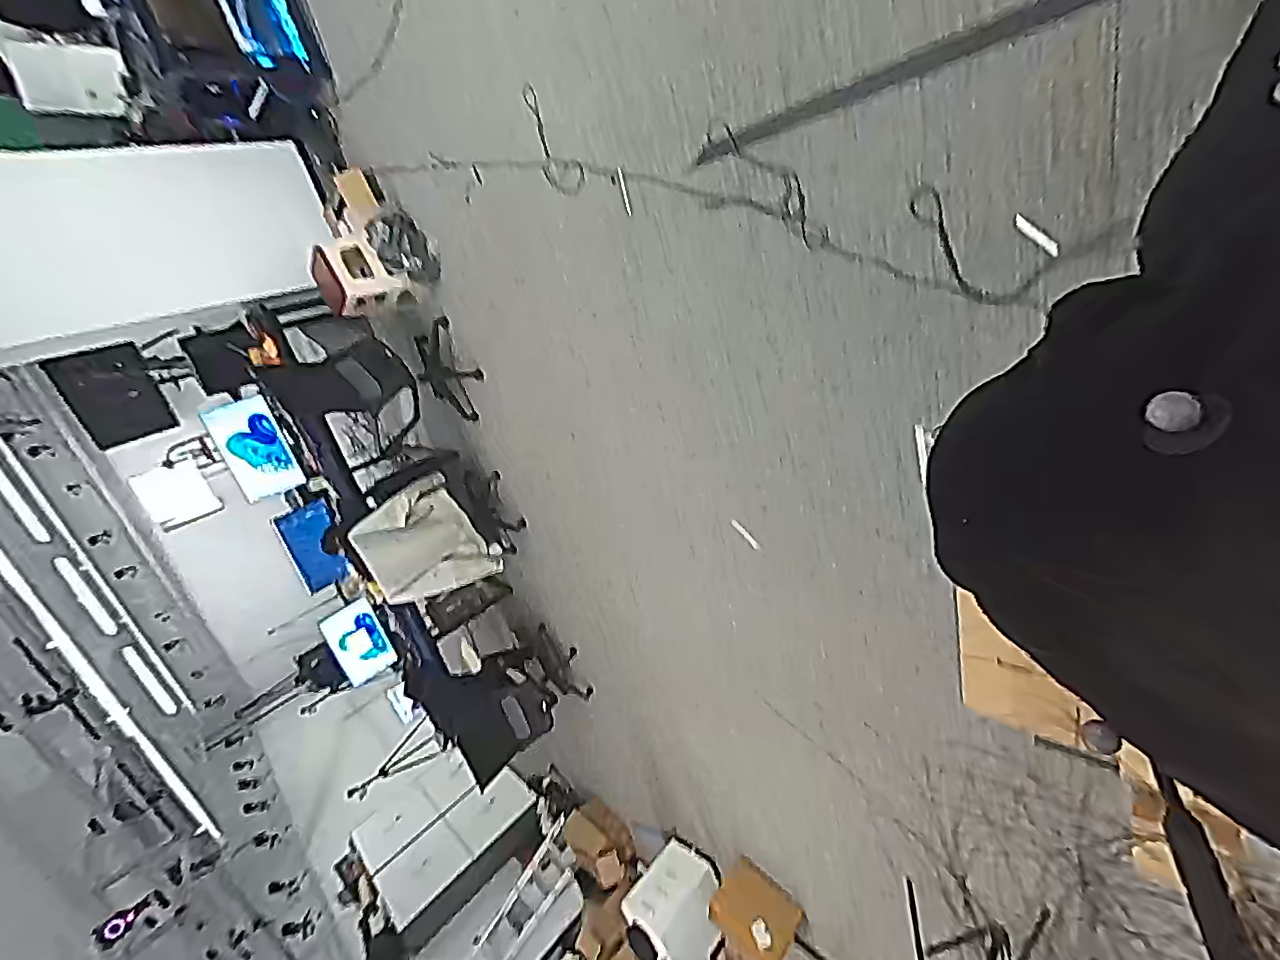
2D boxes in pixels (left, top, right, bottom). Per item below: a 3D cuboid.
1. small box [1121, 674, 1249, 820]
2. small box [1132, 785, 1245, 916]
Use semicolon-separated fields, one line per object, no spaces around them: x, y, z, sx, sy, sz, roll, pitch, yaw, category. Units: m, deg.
1.122;0.537;1.116;0.168;0.176;0.179;9;123;46;small box
1.208;0.783;1.190;0.168;0.176;0.179;0;115;48;small box
